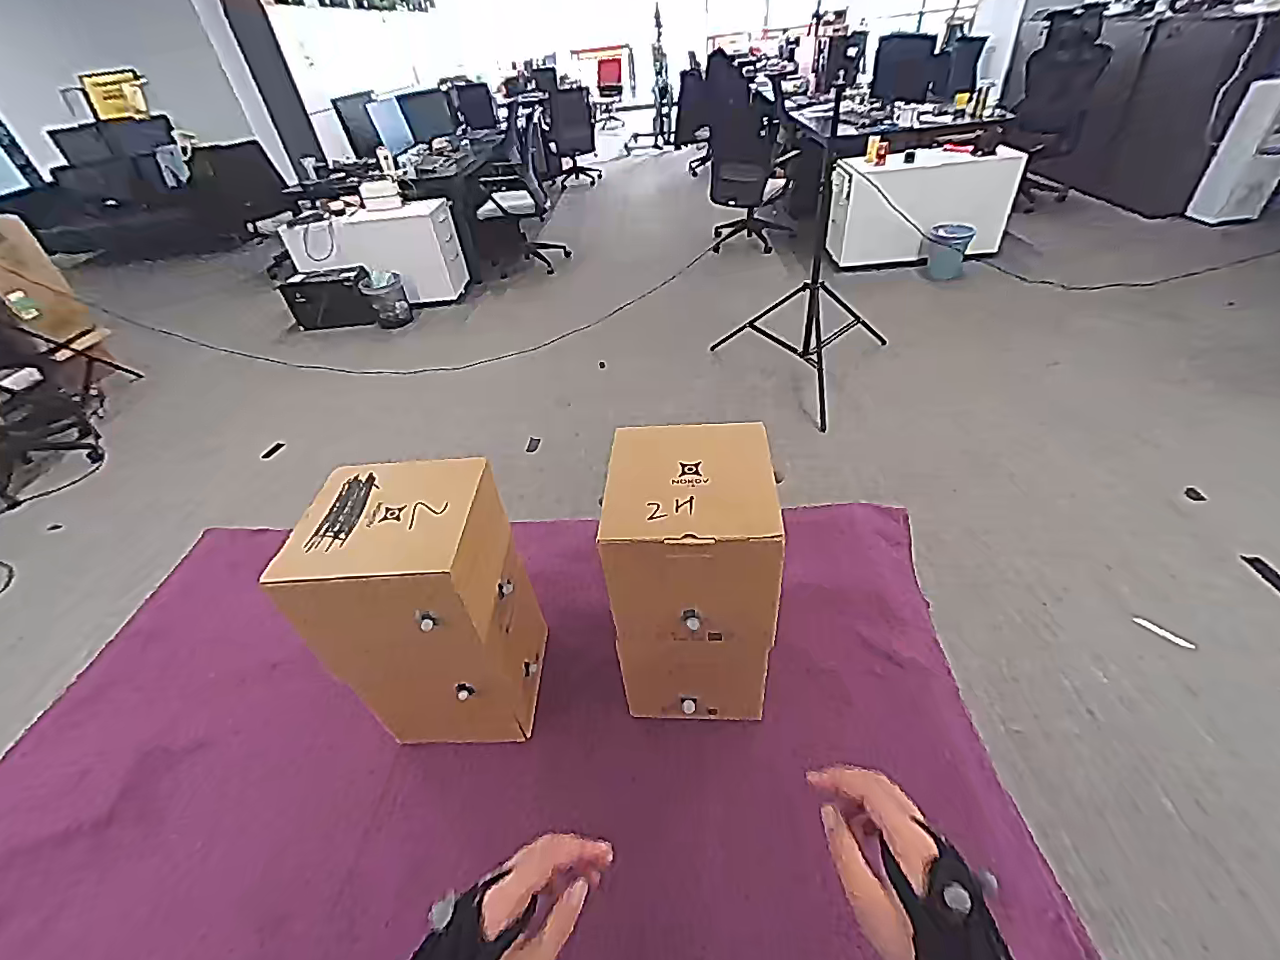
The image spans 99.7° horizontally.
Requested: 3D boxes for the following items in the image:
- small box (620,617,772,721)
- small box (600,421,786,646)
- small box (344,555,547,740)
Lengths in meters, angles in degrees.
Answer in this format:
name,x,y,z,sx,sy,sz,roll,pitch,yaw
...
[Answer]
name,x,y,z,sx,sy,sz,roll,pitch,yaw
small box,0.072,0.181,0.691,0.168,0.176,0.179,-2,41,7
small box,0.059,0.055,0.584,0.168,0.176,0.179,-2,40,7
small box,-0.230,0.217,0.694,0.179,0.176,0.168,-3,40,3
